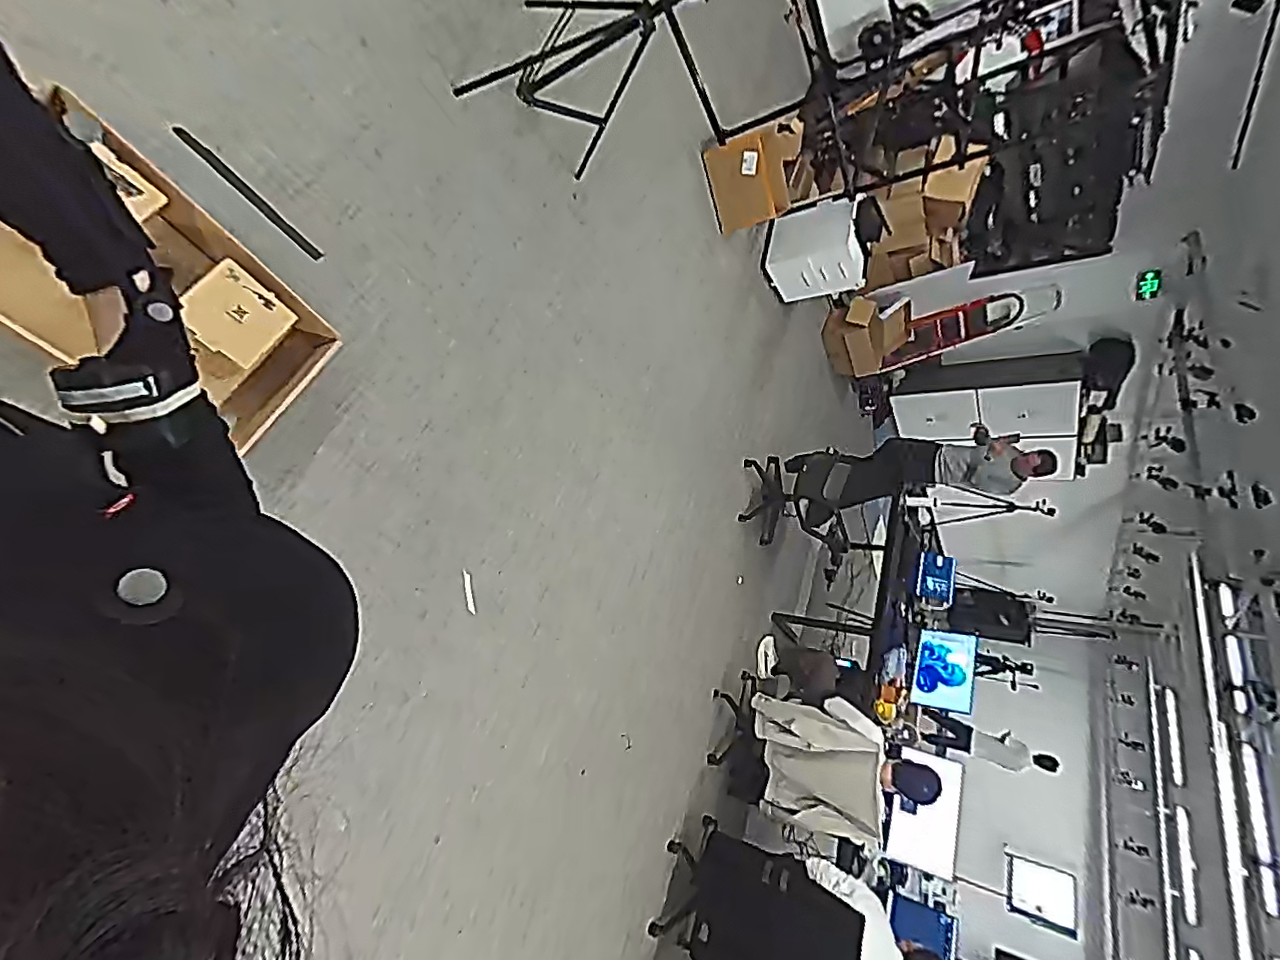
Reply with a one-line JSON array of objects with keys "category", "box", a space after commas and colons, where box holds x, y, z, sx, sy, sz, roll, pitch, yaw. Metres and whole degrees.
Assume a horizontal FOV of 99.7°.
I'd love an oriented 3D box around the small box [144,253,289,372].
[{"category": "small box", "box": [-0.923, -0.354, 1.175, 0.168, 0.176, 0.179, 52, 52, -40]}]
